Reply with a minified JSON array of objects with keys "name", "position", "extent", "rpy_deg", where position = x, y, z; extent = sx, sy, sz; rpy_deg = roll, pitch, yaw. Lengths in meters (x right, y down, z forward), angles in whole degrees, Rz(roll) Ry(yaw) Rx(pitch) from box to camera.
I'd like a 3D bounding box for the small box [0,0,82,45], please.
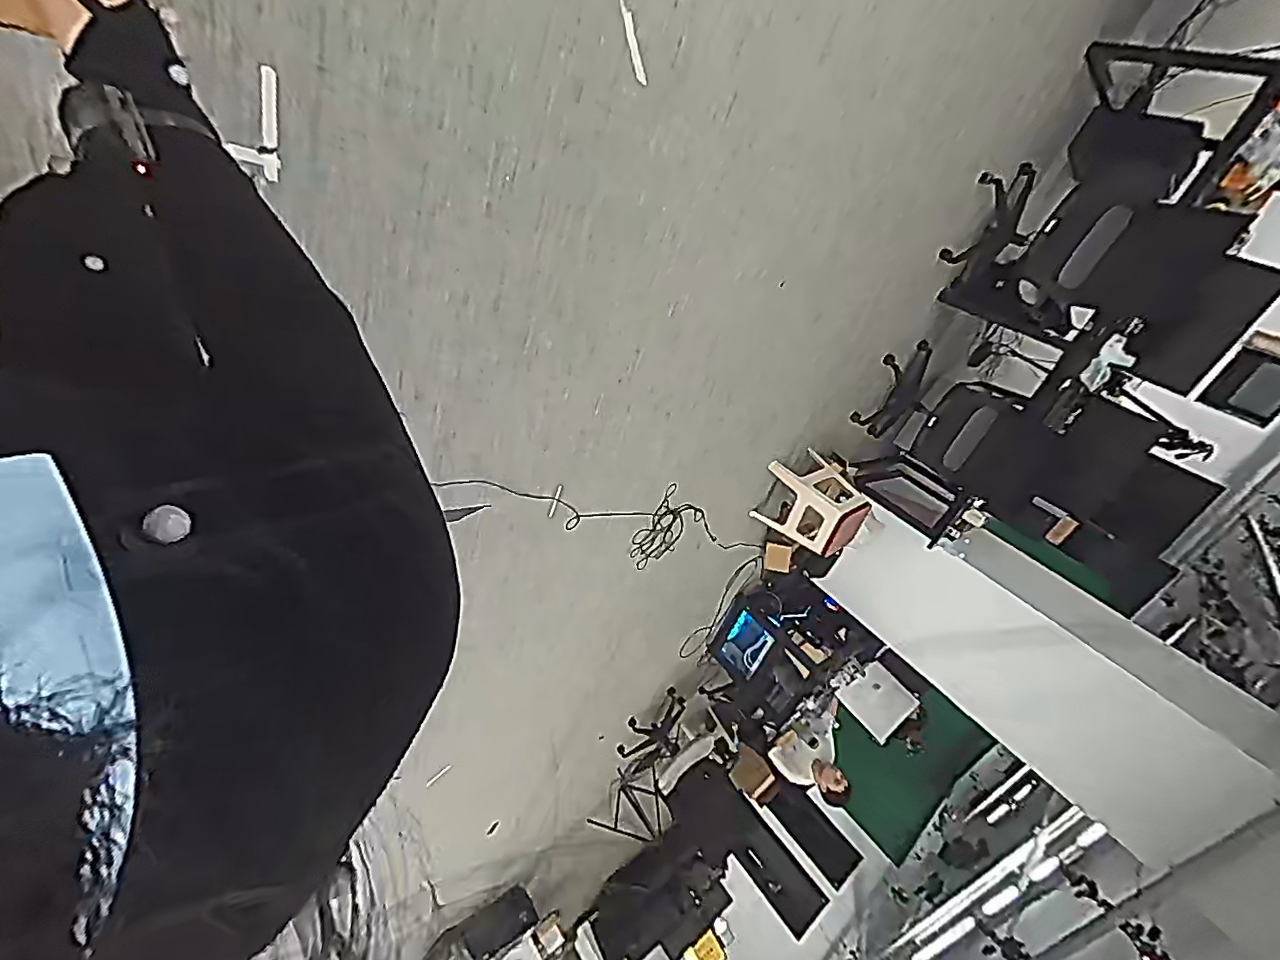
[{"name":"small box","position":[-0.544,-0.455,0.395],"extent":[0.168,0.176,0.179],"rpy_deg":[-10,128,-38]}]
